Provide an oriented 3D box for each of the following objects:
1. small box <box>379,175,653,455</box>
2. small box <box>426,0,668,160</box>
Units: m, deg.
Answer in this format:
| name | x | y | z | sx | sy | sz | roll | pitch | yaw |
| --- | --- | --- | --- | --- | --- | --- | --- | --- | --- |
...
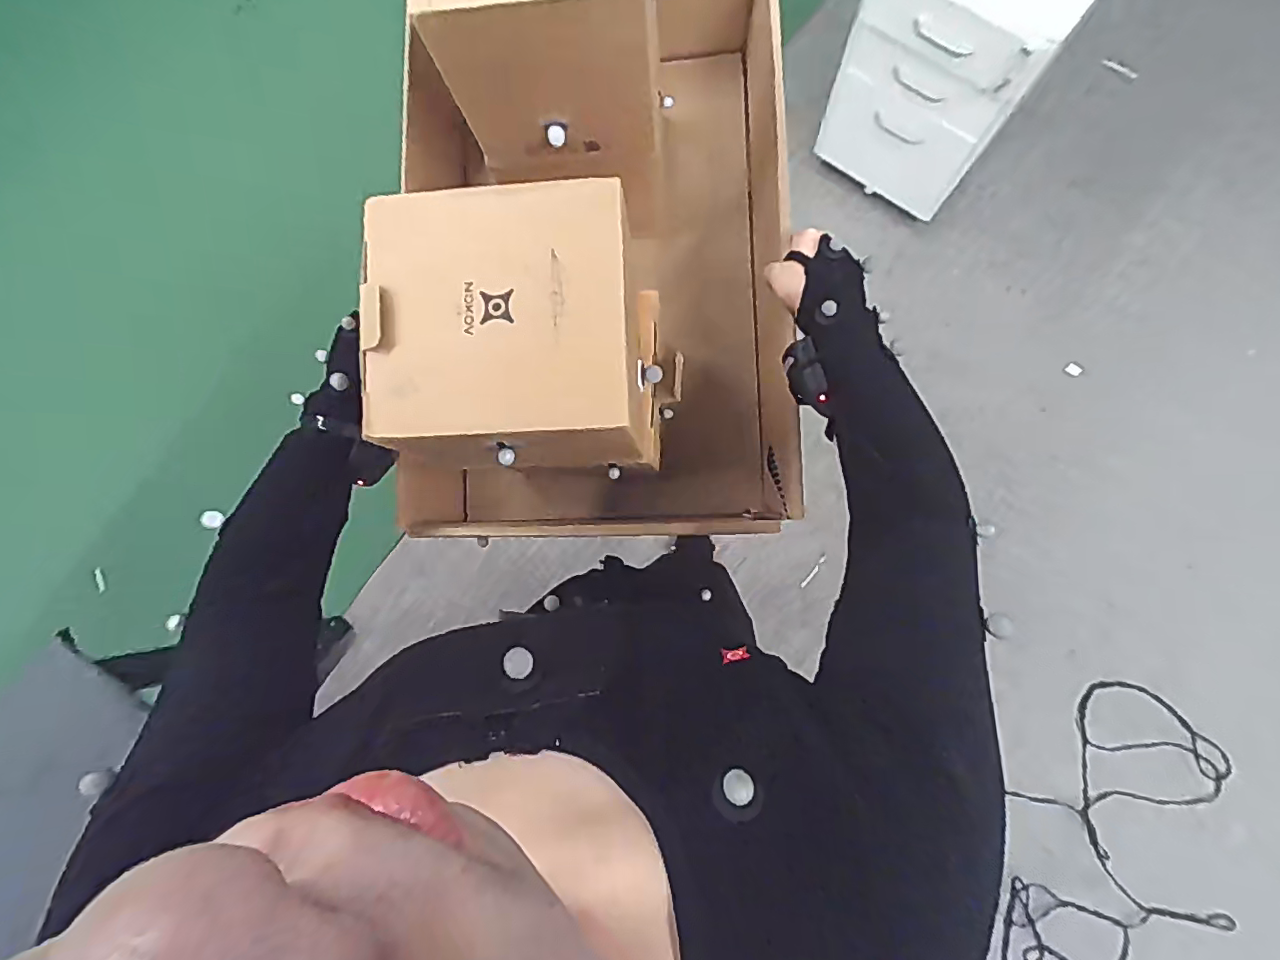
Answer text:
| name | x | y | z | sx | sy | sz | roll | pitch | yaw |
| --- | --- | --- | --- | --- | --- | --- | --- | --- | --- |
| small box | -0.082 | -0.112 | 0.436 | 0.179 | 0.176 | 0.168 | -2 | 86 | 3 |
| small box | -0.062 | -0.405 | 0.450 | 0.168 | 0.176 | 0.179 | -1 | 87 | 4 |
